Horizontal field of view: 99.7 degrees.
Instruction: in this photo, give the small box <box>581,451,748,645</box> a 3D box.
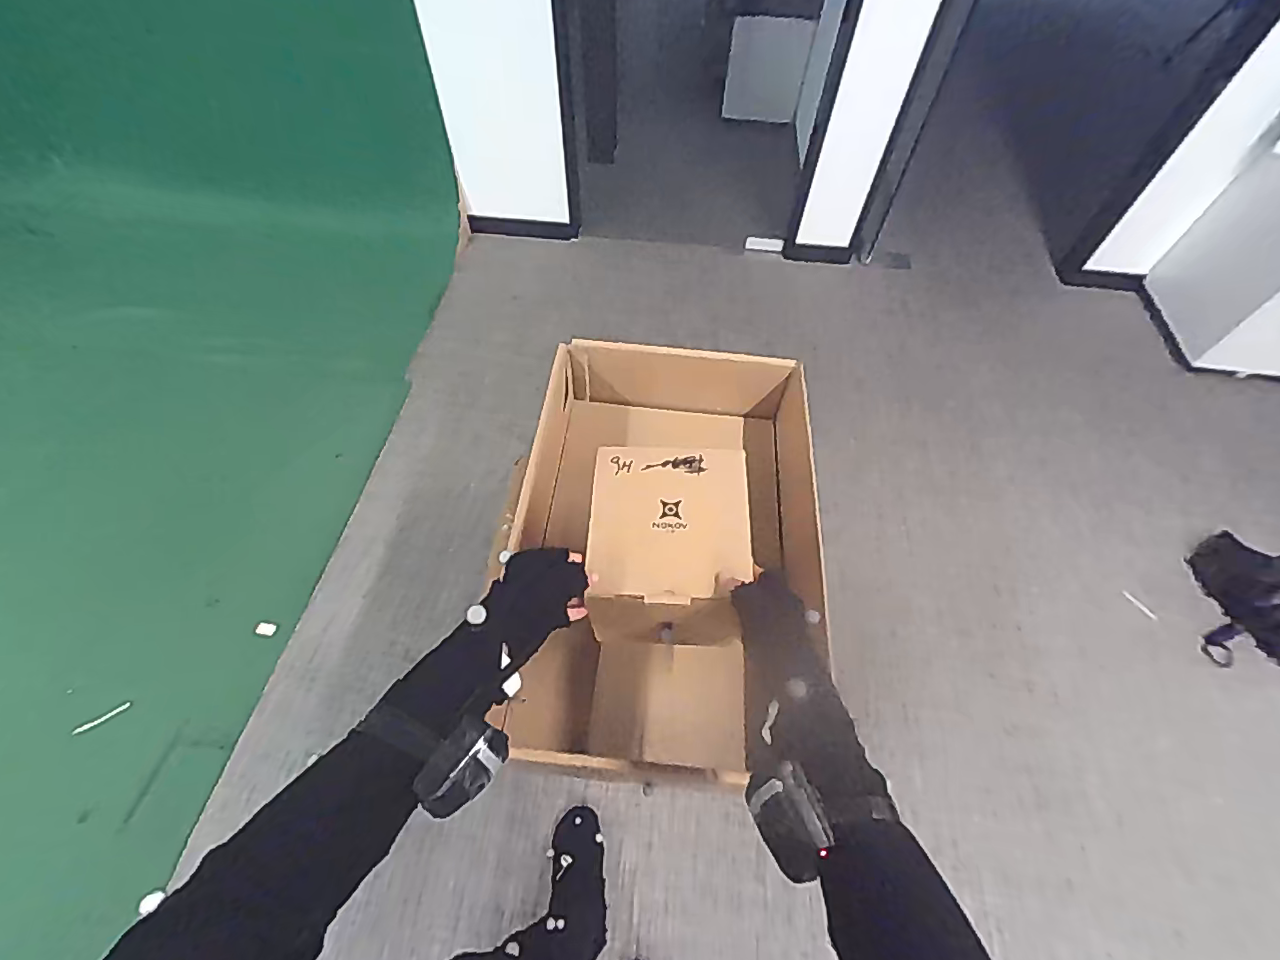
[{"bbox_3d":[0.032,0.085,0.628,0.168,0.176,0.179,2,59,3],"label":"small box"}]
